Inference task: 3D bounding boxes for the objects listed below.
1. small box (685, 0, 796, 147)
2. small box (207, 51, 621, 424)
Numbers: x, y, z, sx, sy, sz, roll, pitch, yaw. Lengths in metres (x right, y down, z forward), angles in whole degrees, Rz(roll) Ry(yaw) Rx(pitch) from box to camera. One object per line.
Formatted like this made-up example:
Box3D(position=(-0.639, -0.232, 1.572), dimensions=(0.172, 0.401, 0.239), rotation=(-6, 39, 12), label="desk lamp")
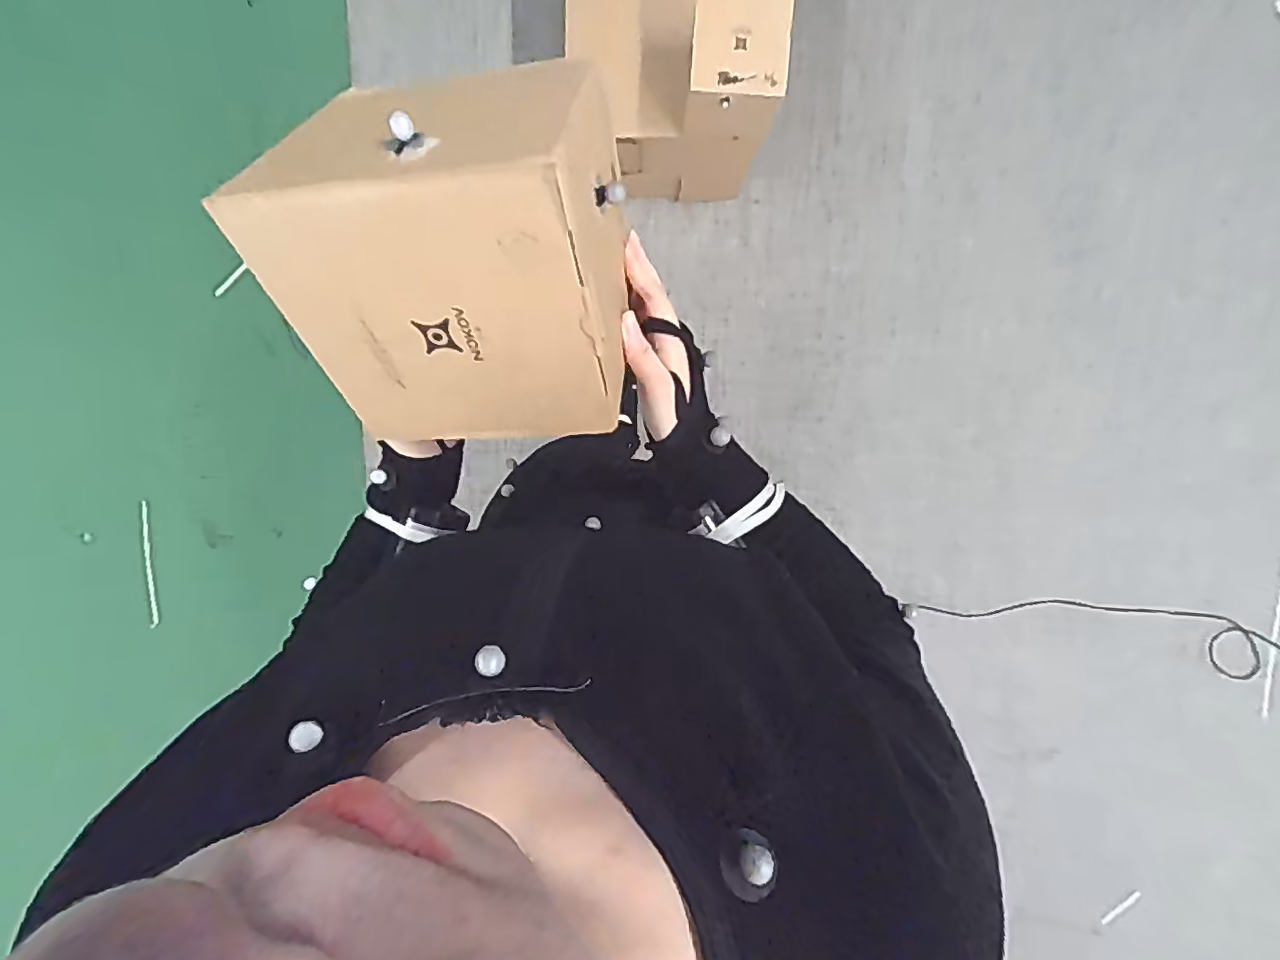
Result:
Box3D(position=(0.174, -0.748, 0.988), dimensions=(0.168, 0.176, 0.179), rotation=(5, 96, 0), label="small box")
Box3D(position=(-0.109, -0.155, 0.356), dimensions=(0.179, 0.176, 0.168), rotation=(0, 140, 8), label="small box")
